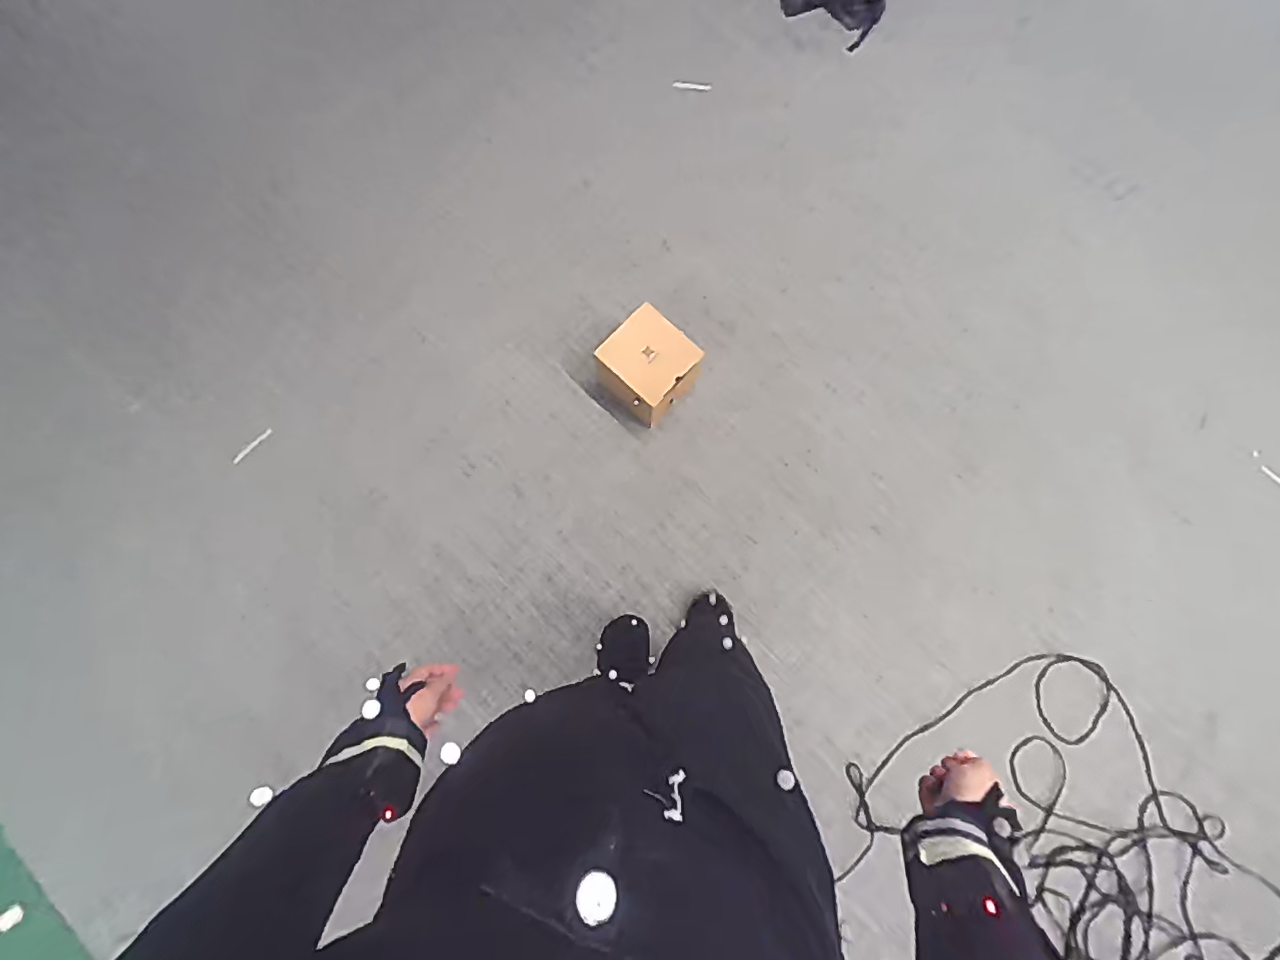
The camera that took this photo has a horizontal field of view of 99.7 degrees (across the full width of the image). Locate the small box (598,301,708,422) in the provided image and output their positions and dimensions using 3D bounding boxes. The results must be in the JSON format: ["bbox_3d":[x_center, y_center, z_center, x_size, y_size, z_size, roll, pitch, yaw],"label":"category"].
[{"bbox_3d":[0.023,-0.254,1.207,0.179,0.176,0.168,43,82,5],"label":"small box"}]
